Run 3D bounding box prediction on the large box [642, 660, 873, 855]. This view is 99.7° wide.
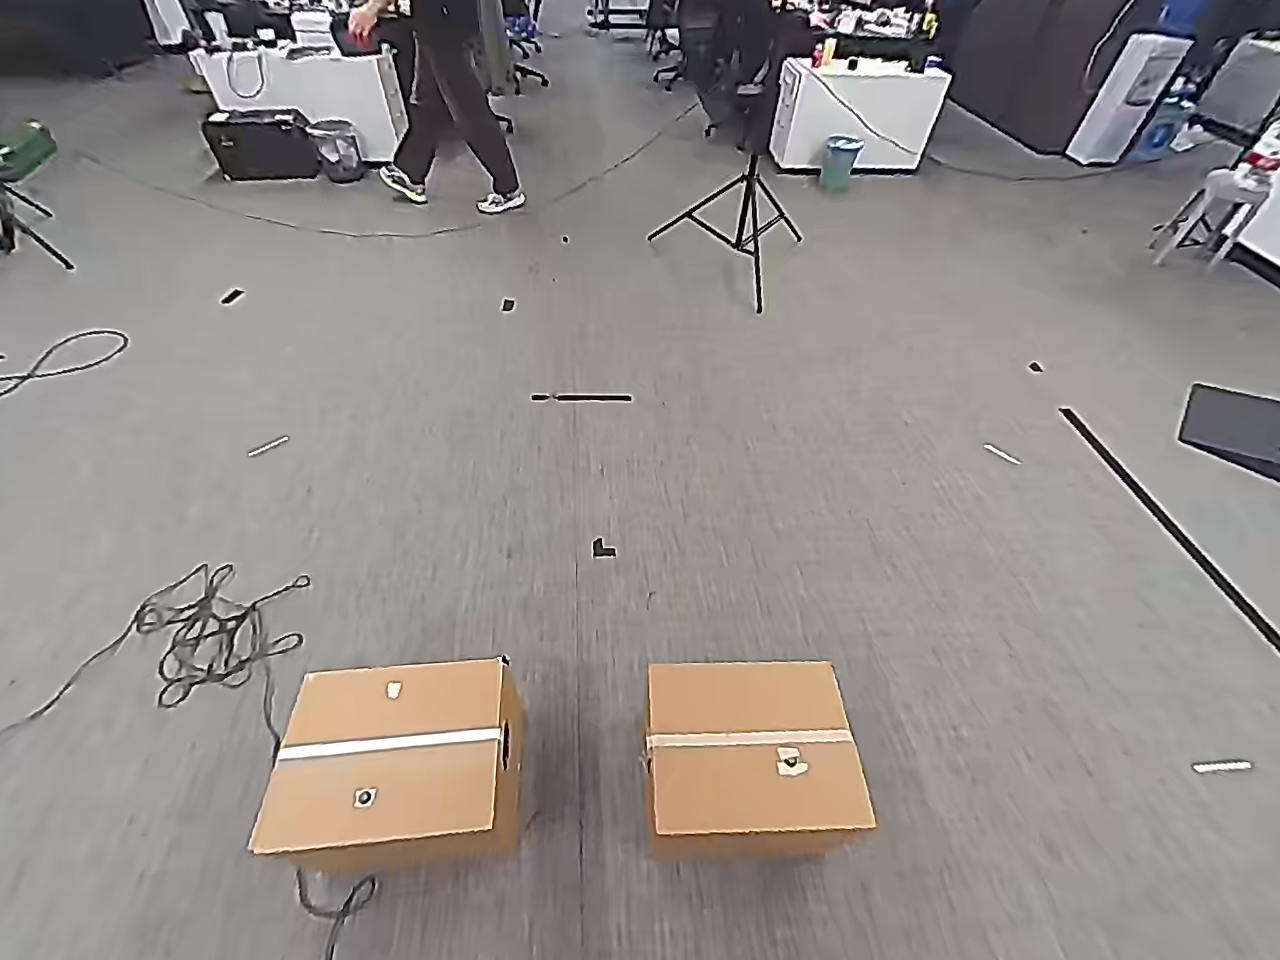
[{"bbox_3d":[0.217,0.610,1.187,0.408,0.320,0.320,1,49,-4],"label":"large box"}]
